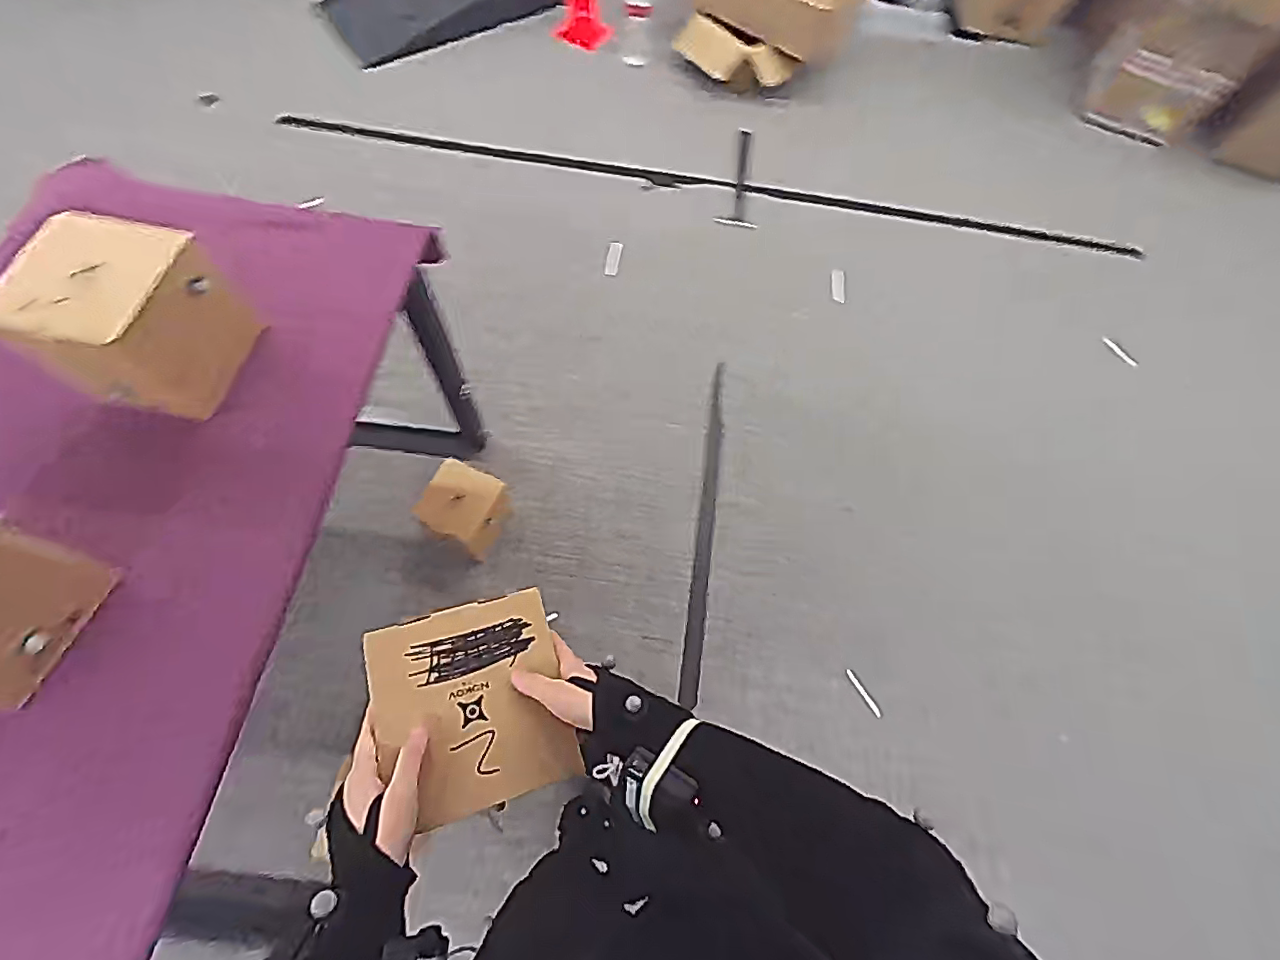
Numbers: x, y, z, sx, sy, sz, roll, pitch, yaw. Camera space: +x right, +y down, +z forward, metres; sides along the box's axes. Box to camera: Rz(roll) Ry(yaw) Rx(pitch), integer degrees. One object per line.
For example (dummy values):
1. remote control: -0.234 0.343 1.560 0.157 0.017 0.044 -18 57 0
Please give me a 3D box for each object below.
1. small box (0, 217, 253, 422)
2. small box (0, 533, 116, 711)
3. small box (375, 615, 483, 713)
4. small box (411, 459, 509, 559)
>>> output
1. small box: -0.653 -0.200 0.702 0.168 0.176 0.179 9 67 0
2. small box: -0.728 0.131 0.555 0.179 0.176 0.168 19 67 3
3. small box: -0.473 0.428 1.244 0.168 0.176 0.179 12 66 0
4. small box: -0.453 0.080 1.396 0.168 0.176 0.179 24 68 5
